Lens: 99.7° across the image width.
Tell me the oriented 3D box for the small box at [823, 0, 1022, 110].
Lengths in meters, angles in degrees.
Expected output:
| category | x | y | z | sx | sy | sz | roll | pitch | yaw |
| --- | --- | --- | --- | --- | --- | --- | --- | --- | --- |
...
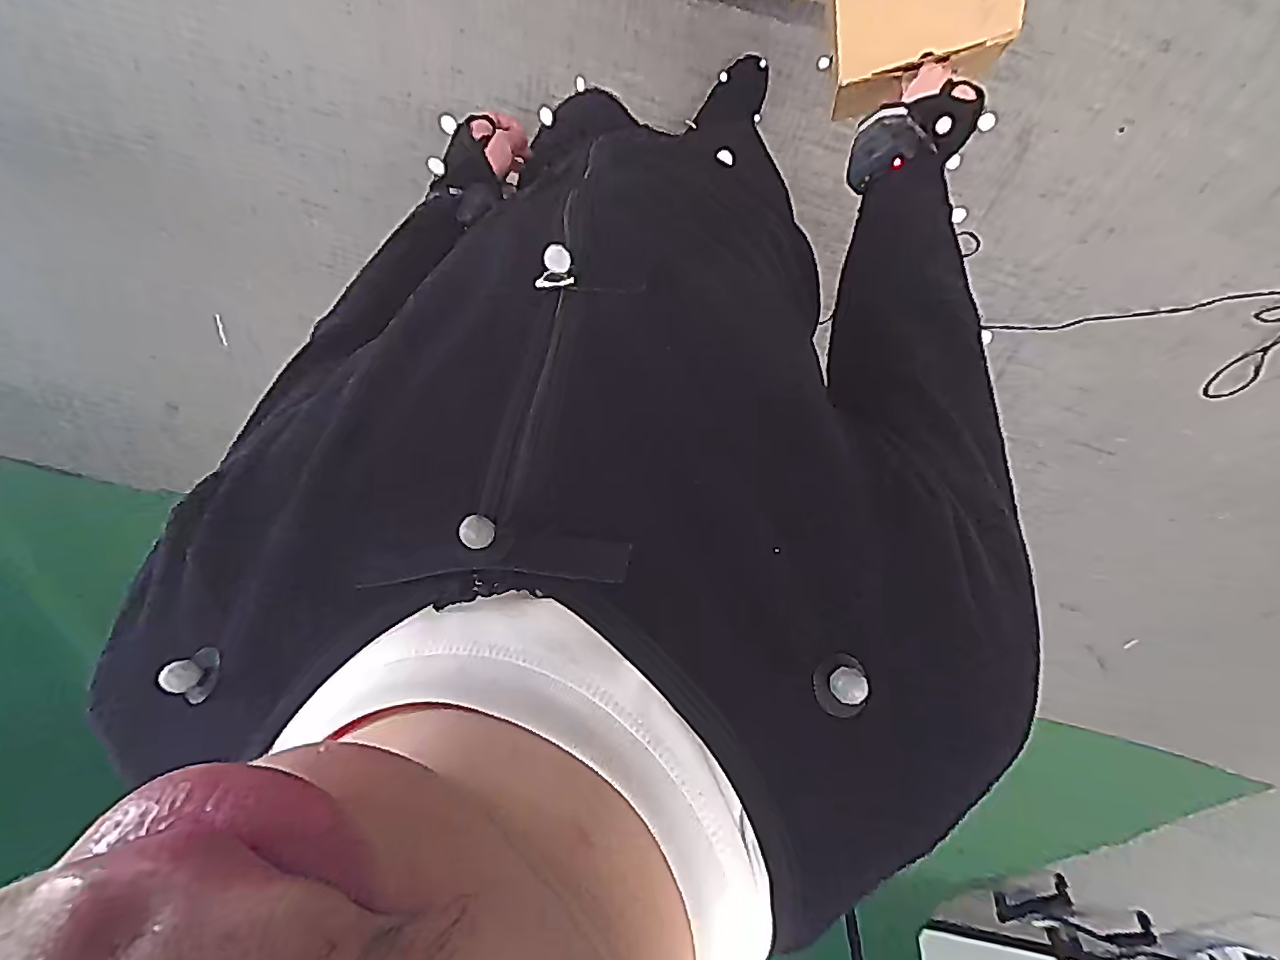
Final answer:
| category | x | y | z | sx | sy | sz | roll | pitch | yaw |
| --- | --- | --- | --- | --- | --- | --- | --- | --- | --- |
| small box | 0.292 | -0.531 | 0.585 | 0.168 | 0.176 | 0.179 | -5 | 107 | 16 |
